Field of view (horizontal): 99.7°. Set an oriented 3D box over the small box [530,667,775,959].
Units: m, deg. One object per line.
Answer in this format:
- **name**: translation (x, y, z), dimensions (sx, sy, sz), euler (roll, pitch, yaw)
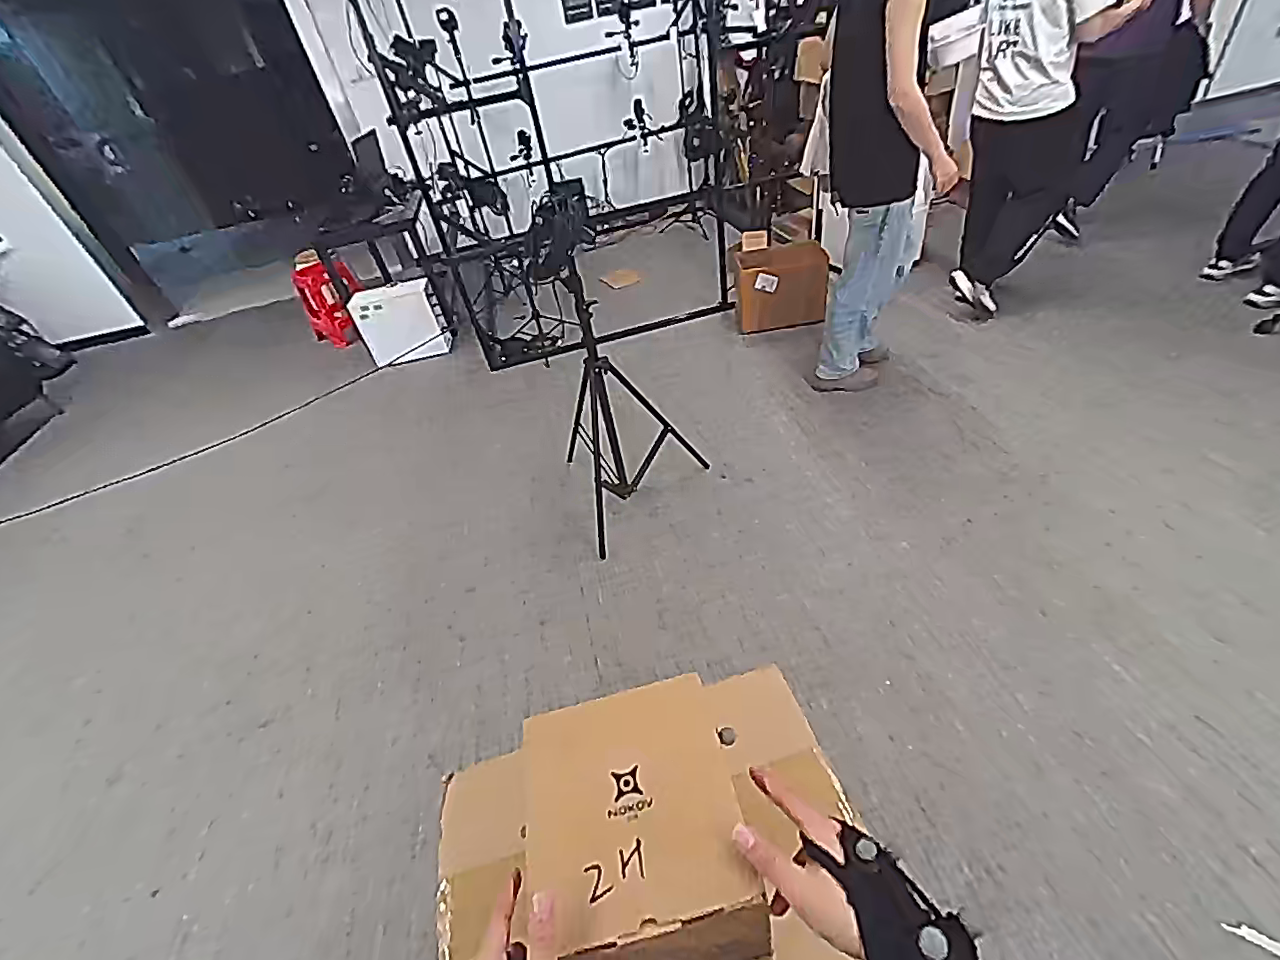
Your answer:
- **small box**: translation (0.008, 0.299, 0.469), dimensions (0.168, 0.176, 0.179), euler (-14, 40, -2)
